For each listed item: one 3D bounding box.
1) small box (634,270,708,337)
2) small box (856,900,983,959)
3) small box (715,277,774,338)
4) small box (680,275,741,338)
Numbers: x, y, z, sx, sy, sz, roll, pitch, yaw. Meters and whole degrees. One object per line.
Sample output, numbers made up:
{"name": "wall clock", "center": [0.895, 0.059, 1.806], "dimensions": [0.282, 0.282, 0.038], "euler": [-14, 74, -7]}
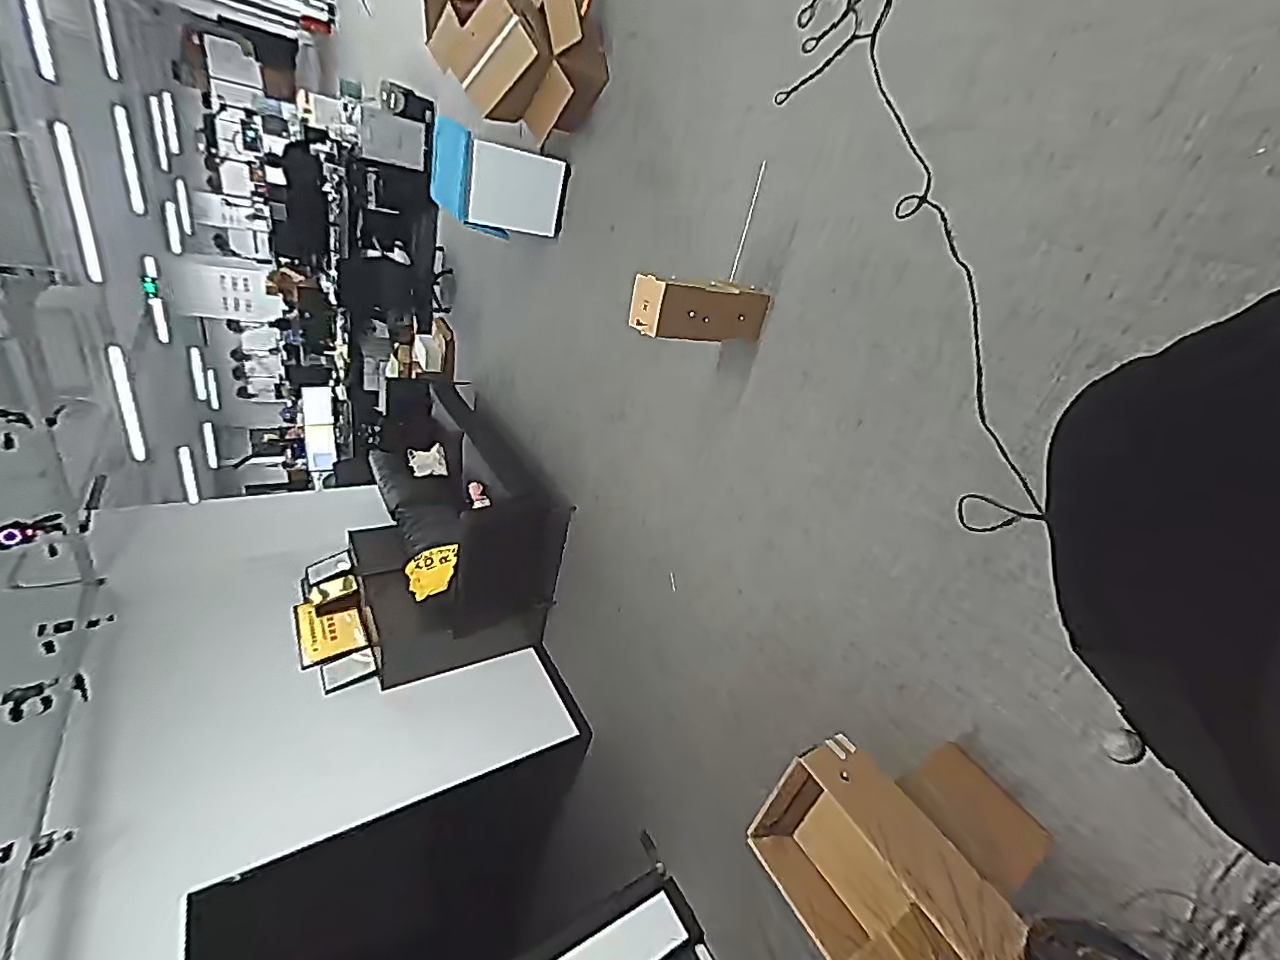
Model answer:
{"name": "small box", "center": [0.106, -0.593, 1.820], "dimensions": [0.168, 0.176, 0.179], "euler": [42, 128, 45]}
{"name": "small box", "center": [0.614, 1.055, 1.164], "dimensions": [0.179, 0.176, 0.168], "euler": [47, 132, 41]}
{"name": "small box", "center": [0.370, -0.637, 2.009], "dimensions": [0.168, 0.176, 0.179], "euler": [44, 130, 44]}
{"name": "small box", "center": [0.232, -0.613, 1.923], "dimensions": [0.168, 0.176, 0.179], "euler": [43, 130, 43]}
